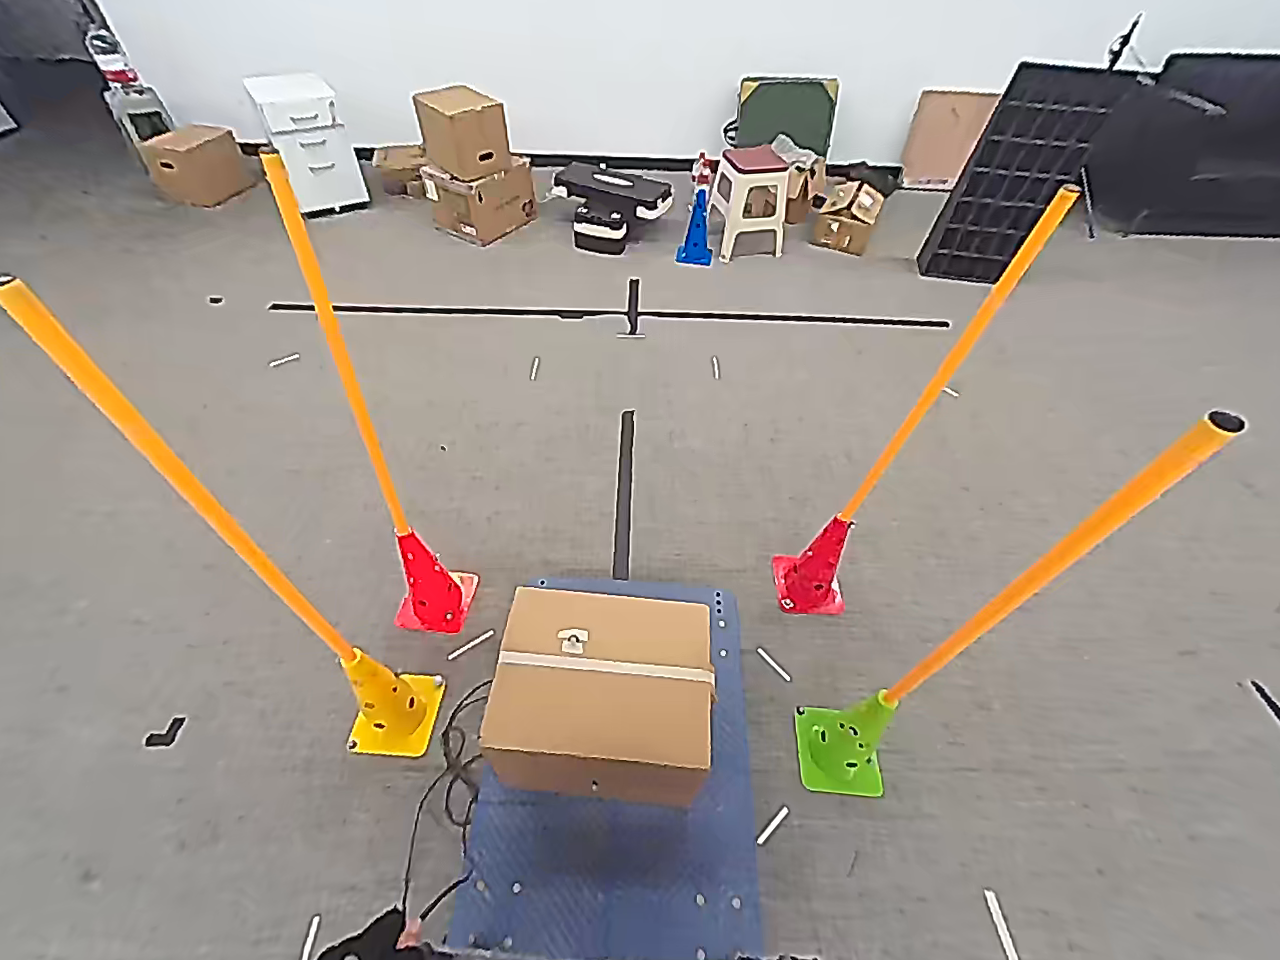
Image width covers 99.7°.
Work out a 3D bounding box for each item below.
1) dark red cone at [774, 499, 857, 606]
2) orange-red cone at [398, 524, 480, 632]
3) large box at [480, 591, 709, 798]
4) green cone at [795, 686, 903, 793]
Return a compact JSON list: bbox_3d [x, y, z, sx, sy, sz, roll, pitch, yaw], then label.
[{"bbox_3d":[0.539,0.195,1.563,0.201,0.394,0.202,3,49,-2],"label":"dark red cone"},{"bbox_3d":[-0.593,0.242,1.501,0.198,0.360,0.199,8,48,3],"label":"orange-red cone"},{"bbox_3d":[-0.072,0.457,1.140,0.408,0.320,0.320,5,49,2],"label":"large box"},{"bbox_3d":[0.513,0.570,1.256,0.202,0.368,0.200,5,49,1],"label":"green cone"}]
